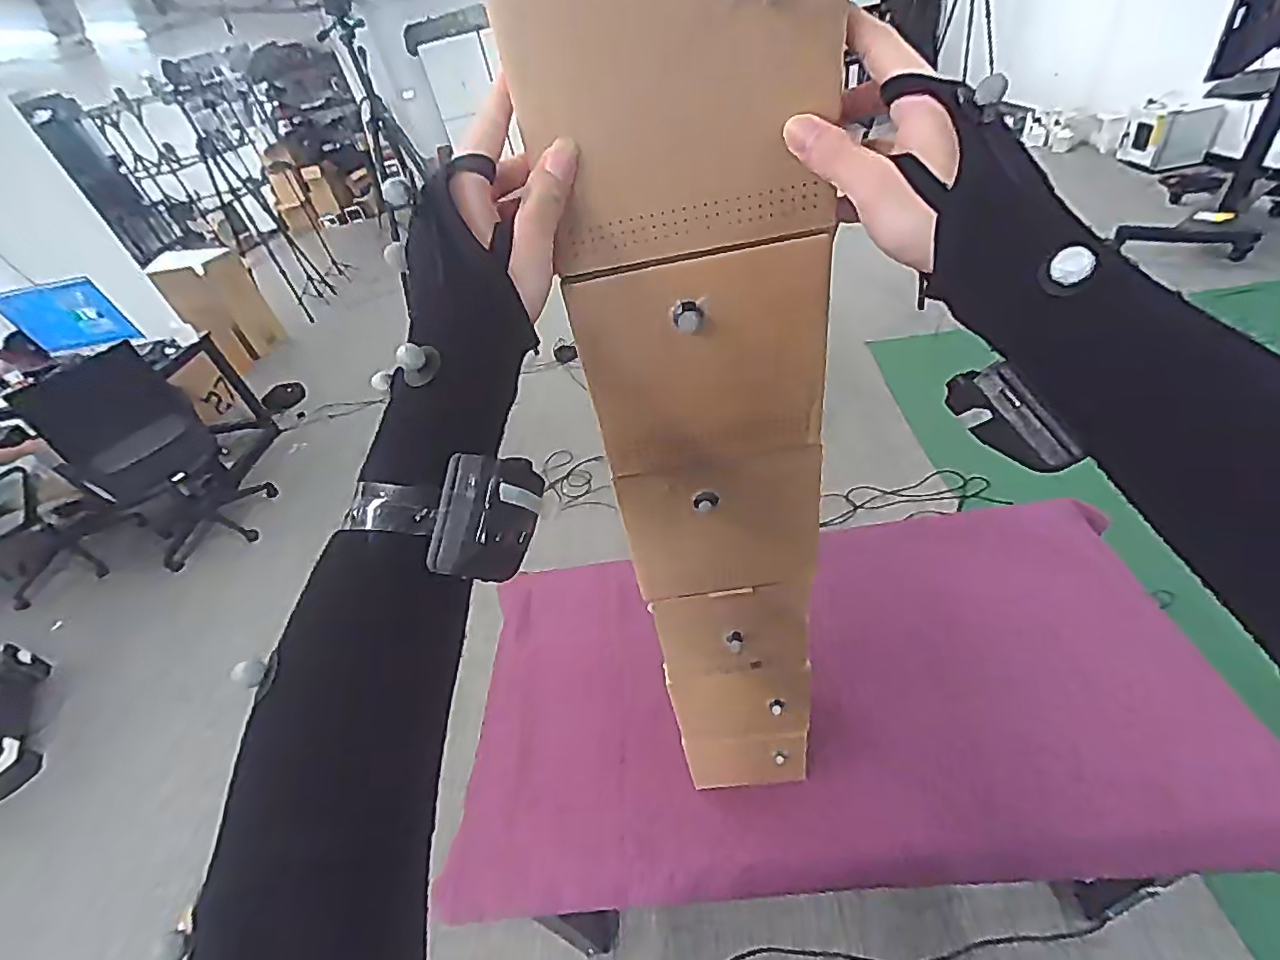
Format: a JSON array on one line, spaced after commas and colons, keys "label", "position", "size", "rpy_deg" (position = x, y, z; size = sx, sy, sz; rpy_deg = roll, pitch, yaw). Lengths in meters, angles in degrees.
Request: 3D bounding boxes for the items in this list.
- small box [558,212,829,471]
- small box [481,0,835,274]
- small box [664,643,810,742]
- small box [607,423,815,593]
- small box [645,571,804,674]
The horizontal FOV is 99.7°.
[{"label": "small box", "position": [0.044, -0.128, 0.451], "size": [0.179, 0.176, 0.168], "rpy_deg": [-10, 39, 6]}, {"label": "small box", "position": [0.016, -0.253, 0.347], "size": [0.179, 0.176, 0.168], "rpy_deg": [-8, 39, 6]}, {"label": "small box", "position": [0.129, 0.245, 0.756], "size": [0.179, 0.176, 0.168], "rpy_deg": [-9, 39, 7]}, {"label": "small box", "position": [0.070, -0.003, 0.551], "size": [0.179, 0.176, 0.168], "rpy_deg": [-9, 39, 4]}, {"label": "small box", "position": [0.098, 0.119, 0.658], "size": [0.168, 0.176, 0.179], "rpy_deg": [-9, 40, 5]}]
